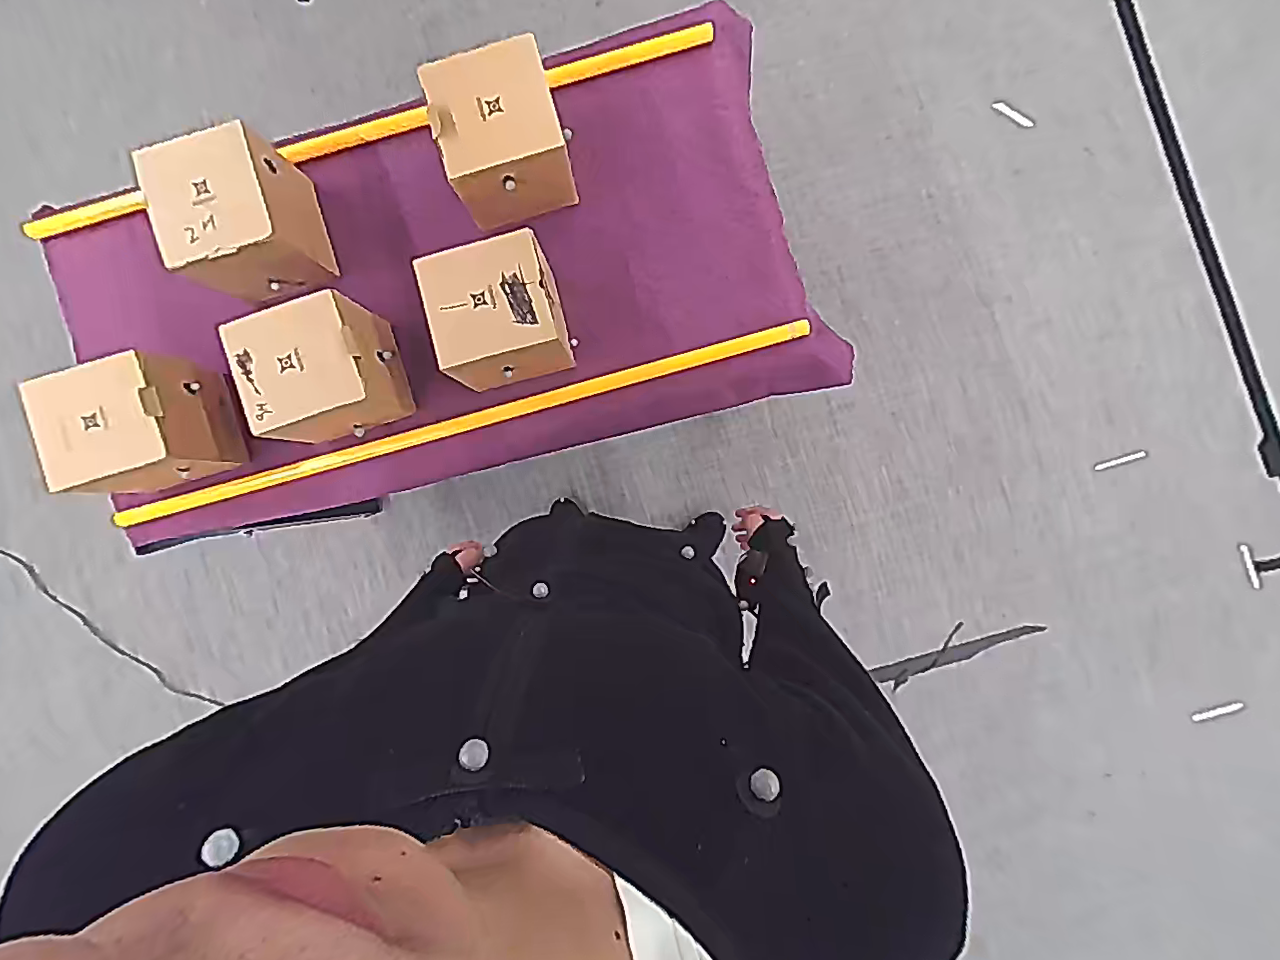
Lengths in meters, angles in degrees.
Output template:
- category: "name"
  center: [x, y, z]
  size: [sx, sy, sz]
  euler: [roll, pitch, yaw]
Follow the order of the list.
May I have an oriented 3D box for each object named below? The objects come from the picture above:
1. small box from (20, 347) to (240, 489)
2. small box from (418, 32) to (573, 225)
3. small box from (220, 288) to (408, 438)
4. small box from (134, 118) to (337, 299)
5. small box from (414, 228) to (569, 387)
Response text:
- category: "small box"
  center: [-0.772, -0.088, 0.845]
  size: [0.179, 0.176, 0.168]
  euler: [-17, 89, -1]
- category: "small box"
  center: [-0.209, -0.529, 0.840]
  size: [0.179, 0.176, 0.168]
  euler: [-16, 91, 2]
- category: "small box"
  center: [-0.487, -0.170, 0.843]
  size: [0.179, 0.176, 0.168]
  euler: [-18, 89, 0]
- category: "small box"
  center: [-0.615, -0.410, 0.845]
  size: [0.168, 0.176, 0.179]
  euler: [-16, 91, 1]
- category: "small box"
  center: [-0.215, -0.255, 0.838]
  size: [0.179, 0.176, 0.168]
  euler: [-14, 88, 2]
